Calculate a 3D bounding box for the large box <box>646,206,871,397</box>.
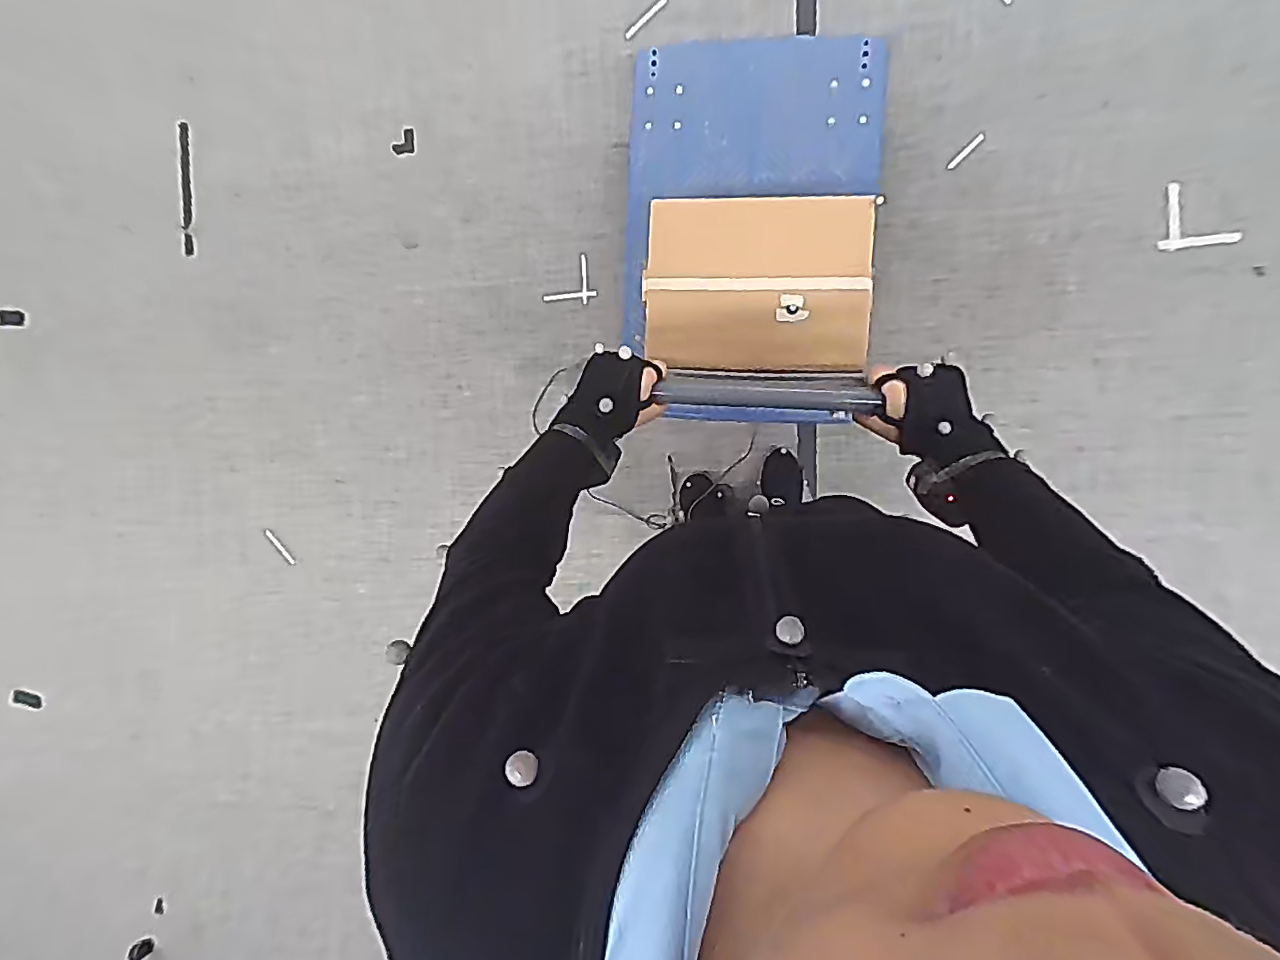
[{"bbox_3d":[0.227,-0.346,1.136,0.408,0.320,0.320,2,94,7],"label":"large box"}]
